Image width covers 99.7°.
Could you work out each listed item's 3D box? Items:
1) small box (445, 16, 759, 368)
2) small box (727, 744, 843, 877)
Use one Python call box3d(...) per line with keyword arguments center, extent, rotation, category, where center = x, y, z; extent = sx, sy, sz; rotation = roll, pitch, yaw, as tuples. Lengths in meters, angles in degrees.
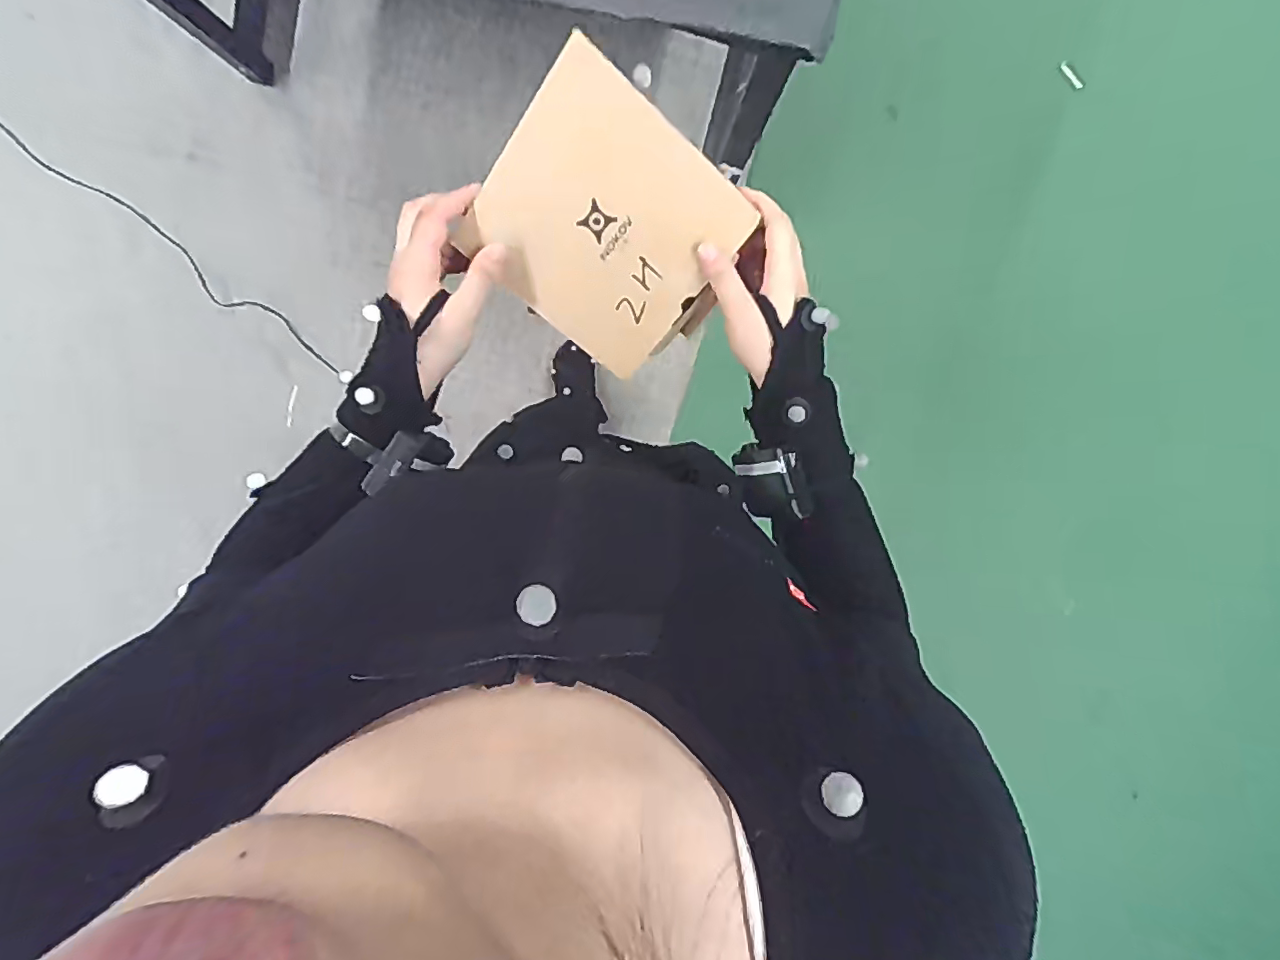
box3d(center=(-0.029, -0.232, 0.466), extent=(0.179, 0.176, 0.168), rotation=(36, 115, -19), category="small box")
box3d(center=(0.312, 0.725, 1.202), extent=(0.179, 0.176, 0.168), rotation=(19, 102, -5), category="small box")
